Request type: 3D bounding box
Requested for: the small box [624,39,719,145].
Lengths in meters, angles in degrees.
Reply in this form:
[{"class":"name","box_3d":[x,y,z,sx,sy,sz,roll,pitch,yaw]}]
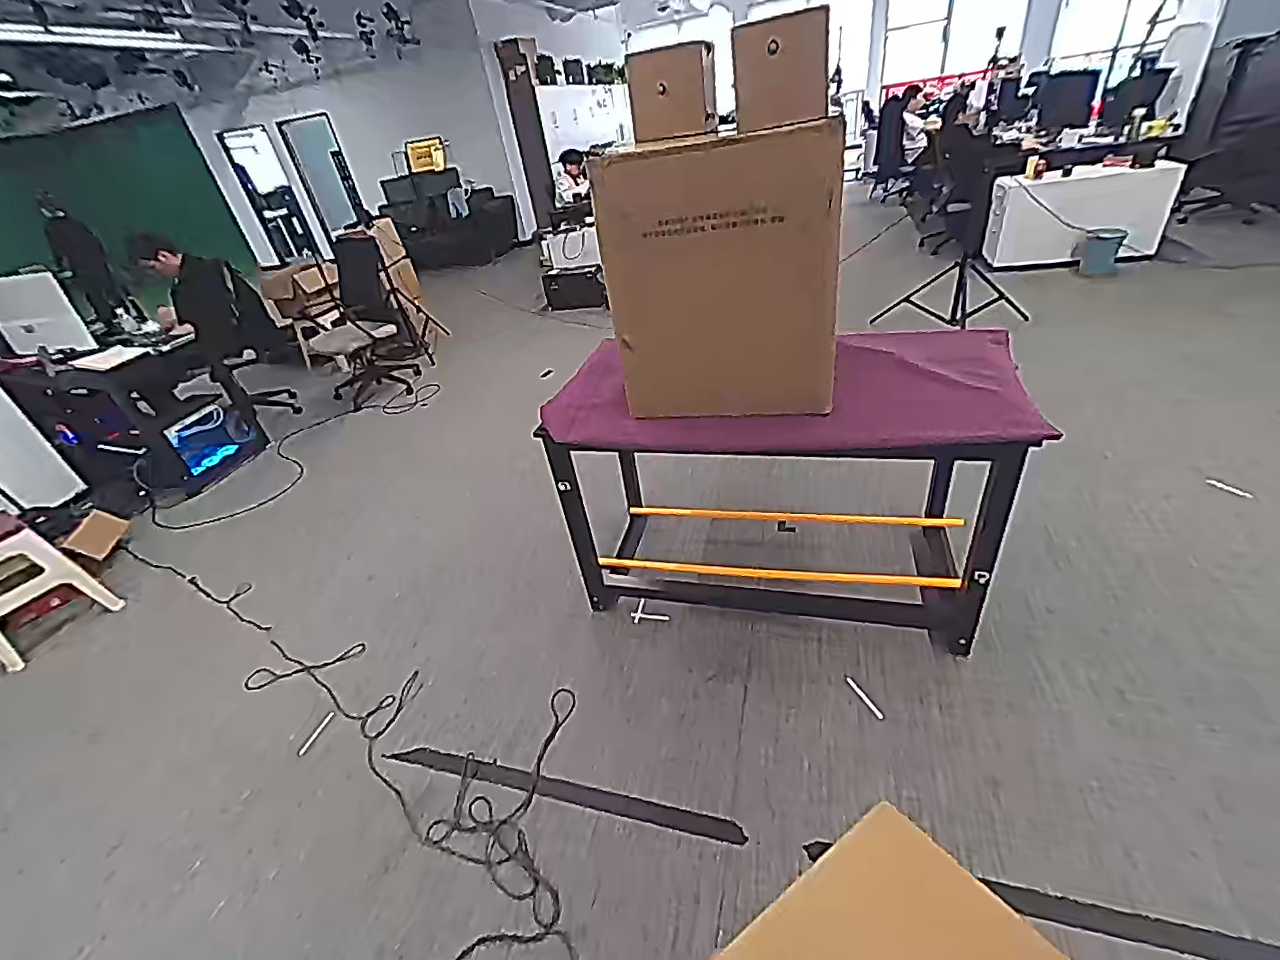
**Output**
[{"class":"small box","box_3d":[0.082,-0.896,1.256,0.179,0.176,0.168,3,35,20]}]
